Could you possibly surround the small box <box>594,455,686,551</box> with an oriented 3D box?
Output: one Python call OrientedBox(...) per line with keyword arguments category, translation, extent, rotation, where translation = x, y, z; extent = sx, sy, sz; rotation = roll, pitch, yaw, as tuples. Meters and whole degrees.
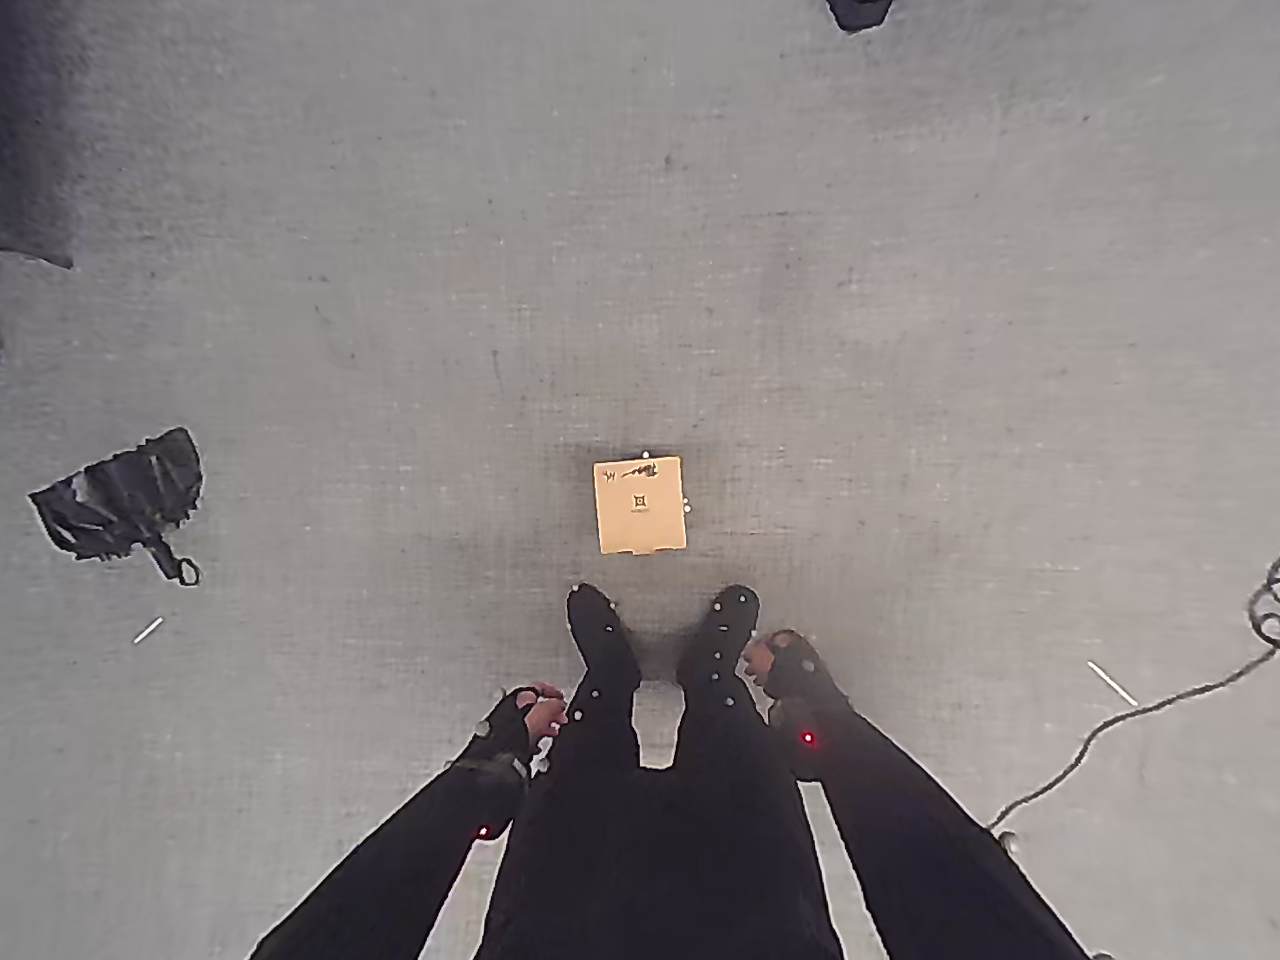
OrientedBox(category="small box", translation=(0.005, 0.041, 1.097), extent=(0.168, 0.176, 0.179), rotation=(-4, 91, 5))
